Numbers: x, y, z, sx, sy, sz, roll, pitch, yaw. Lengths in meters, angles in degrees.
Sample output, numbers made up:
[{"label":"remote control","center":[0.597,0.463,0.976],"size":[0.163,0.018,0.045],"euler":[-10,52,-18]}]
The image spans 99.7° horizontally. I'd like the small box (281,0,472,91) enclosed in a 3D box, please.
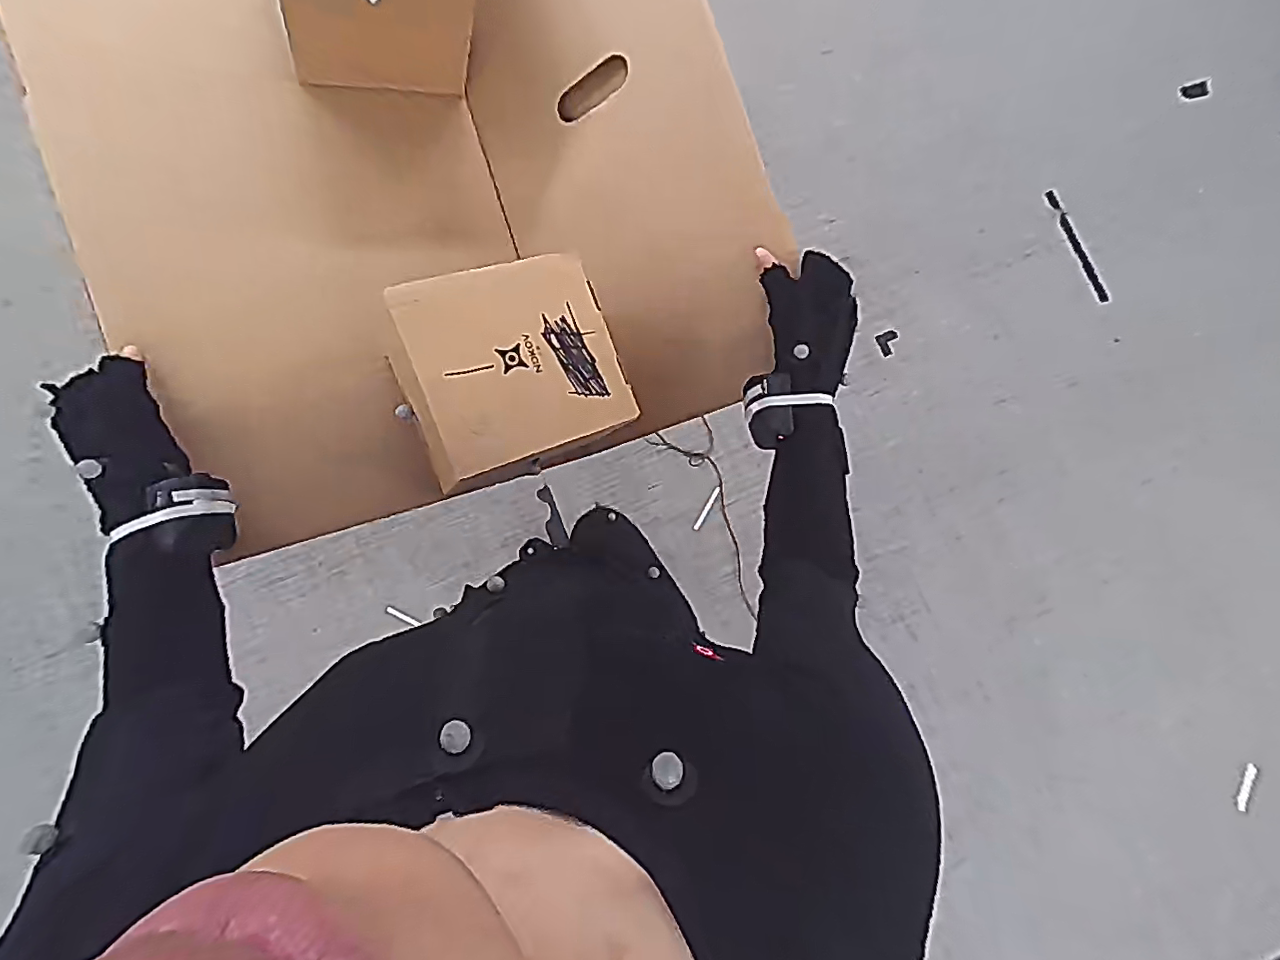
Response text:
[{"label":"small box","center":[-0.269,-0.527,0.535],"size":[0.179,0.176,0.168],"euler":[-13,89,-25]}]
